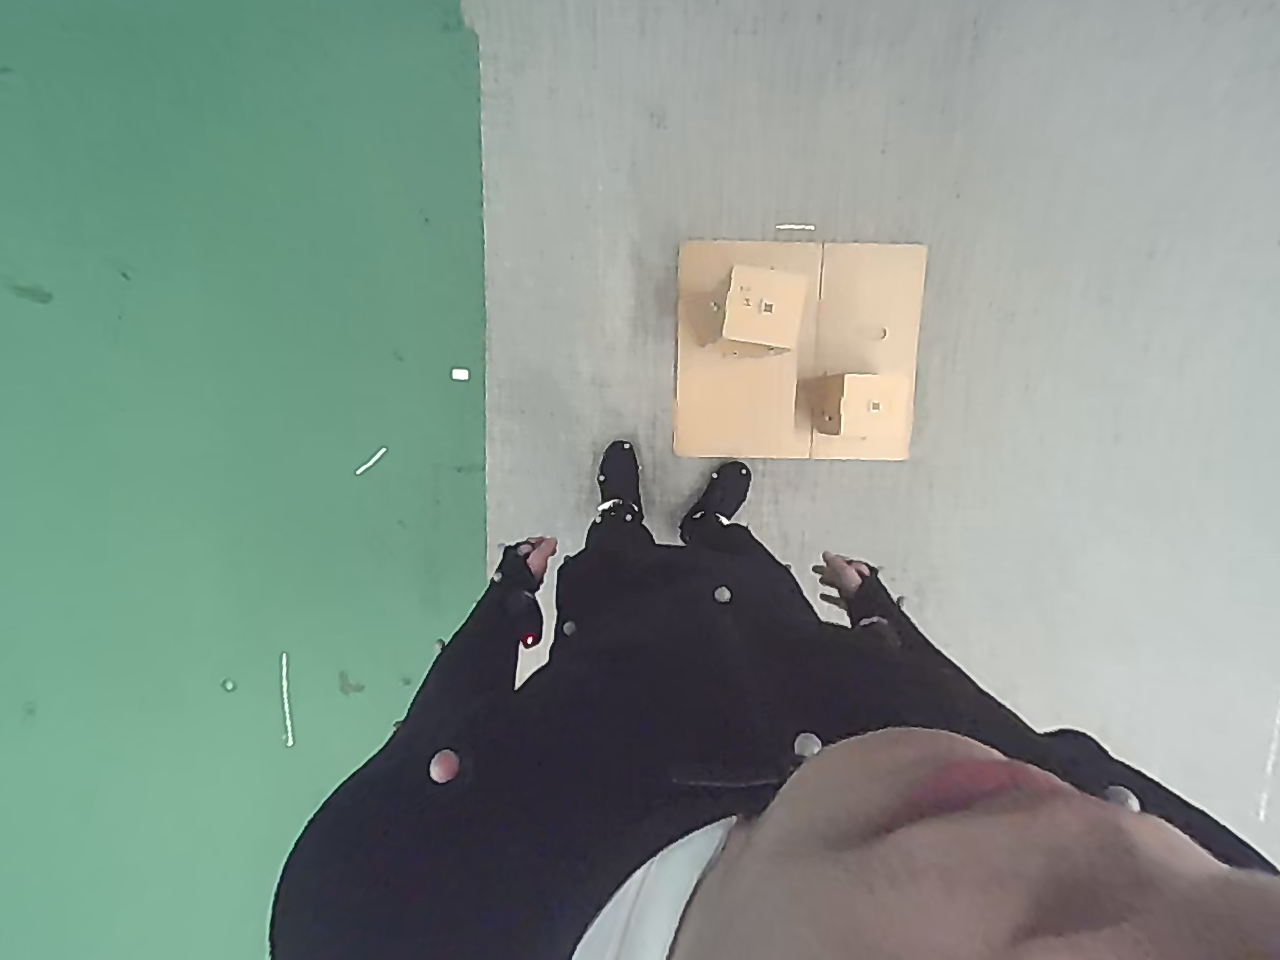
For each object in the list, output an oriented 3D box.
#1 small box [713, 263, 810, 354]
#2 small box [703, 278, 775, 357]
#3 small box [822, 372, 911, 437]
[{"bbox_3d":[0.282,-0.400,1.291,0.179,0.176,0.168,9,97,-1],"label":"small box"},{"bbox_3d":[0.279,-0.430,1.455,0.179,0.176,0.168,9,97,-2],"label":"small box"},{"bbox_3d":[0.614,-0.206,1.489,0.179,0.176,0.168,2,98,0],"label":"small box"}]
